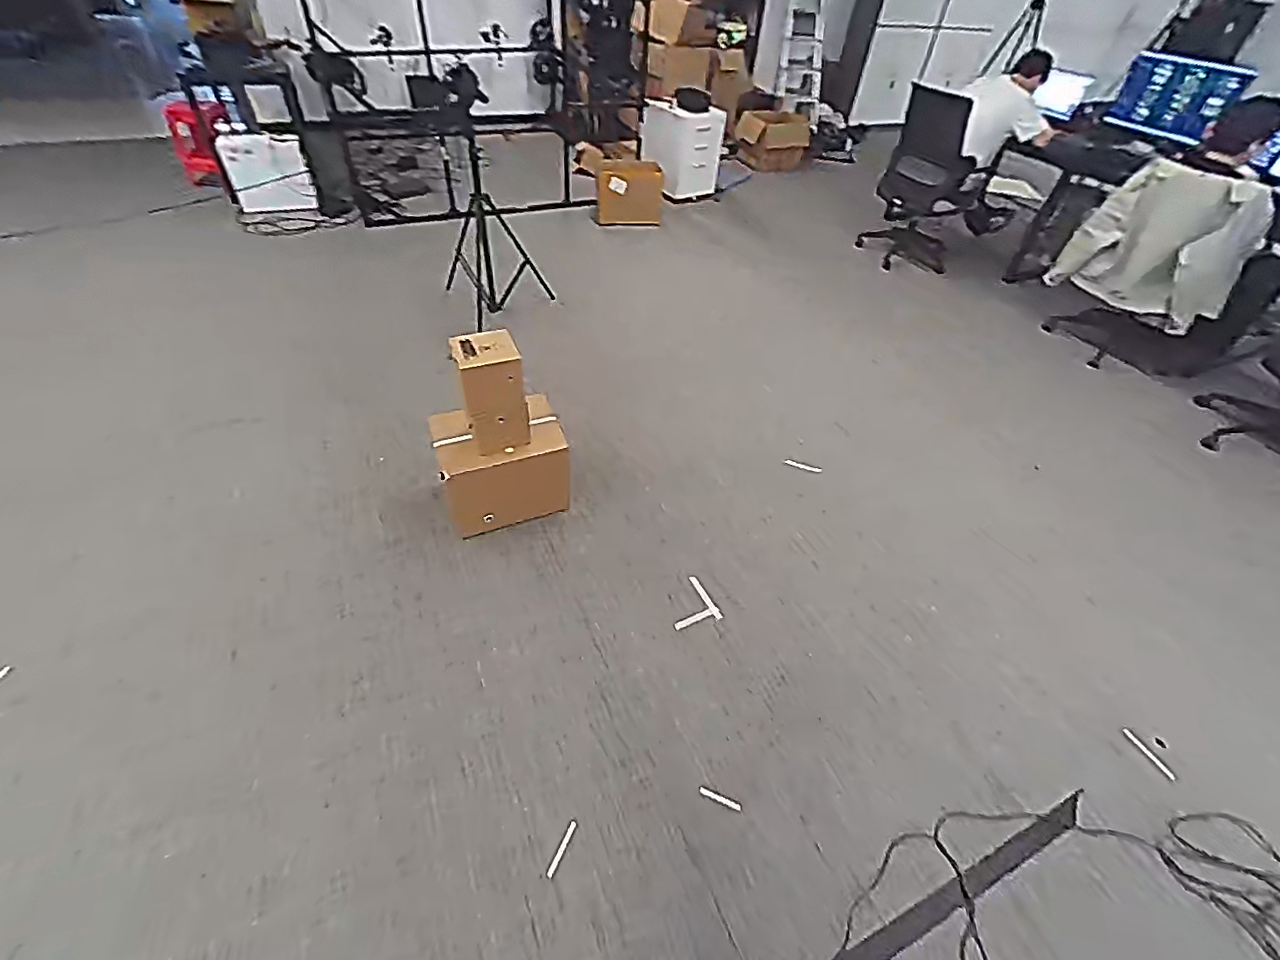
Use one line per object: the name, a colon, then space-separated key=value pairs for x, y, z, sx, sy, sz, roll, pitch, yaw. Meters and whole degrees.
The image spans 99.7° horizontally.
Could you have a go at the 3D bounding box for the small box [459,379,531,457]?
small box: x=-0.461 y=-0.195 z=1.733 sx=0.179 sy=0.176 sz=0.168 roll=-17 pitch=51 yaw=-21
